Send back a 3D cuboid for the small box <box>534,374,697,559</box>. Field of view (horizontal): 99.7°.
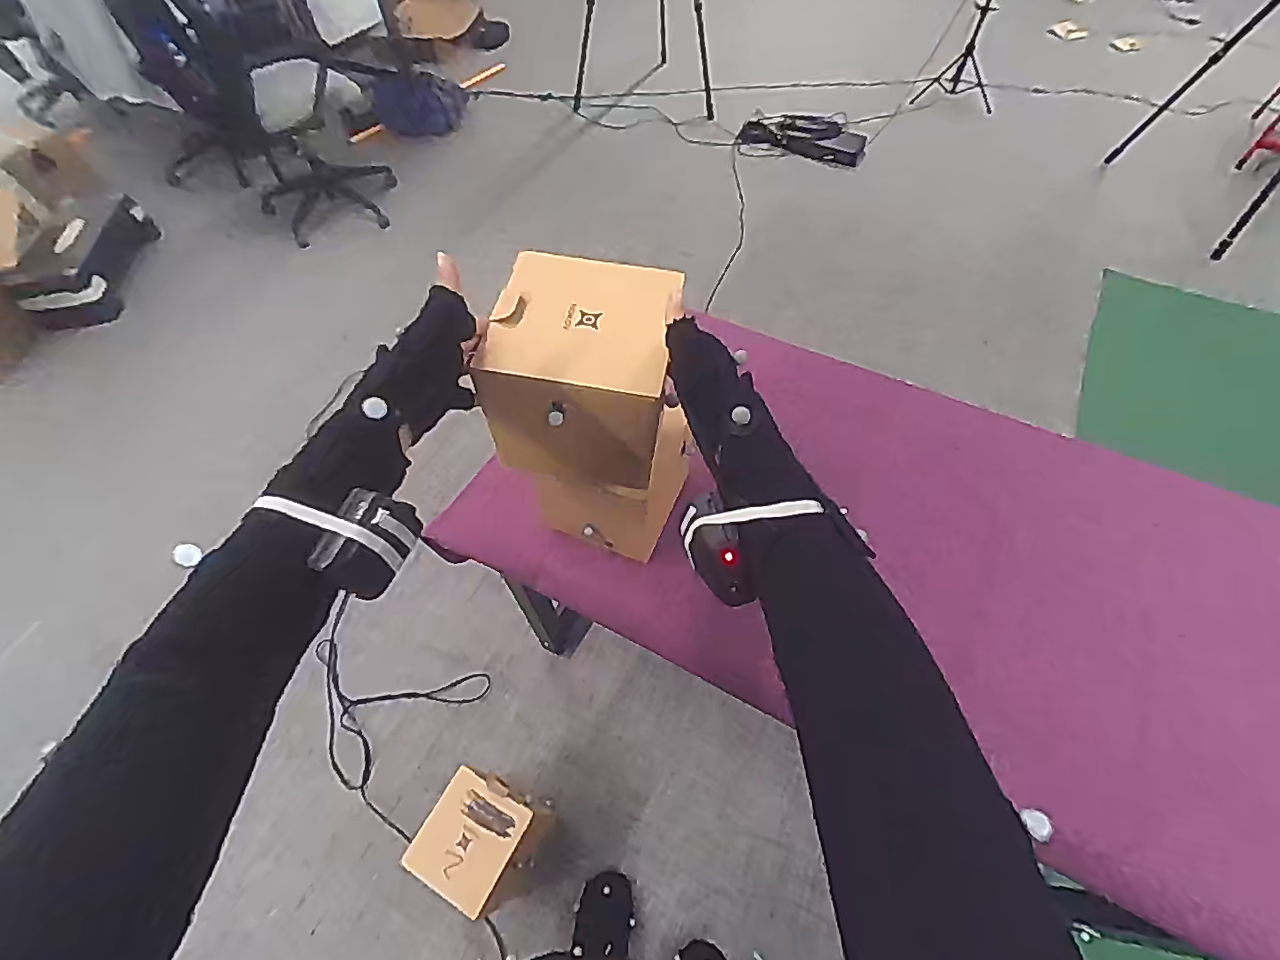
[{"bbox_3d":[-0.032,-0.017,0.784,0.168,0.176,0.179,21,59,13],"label":"small box"}]

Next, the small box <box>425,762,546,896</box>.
[{"bbox_3d":[-0.319,0.740,1.159,0.168,0.176,0.179,26,62,16],"label":"small box"}]
